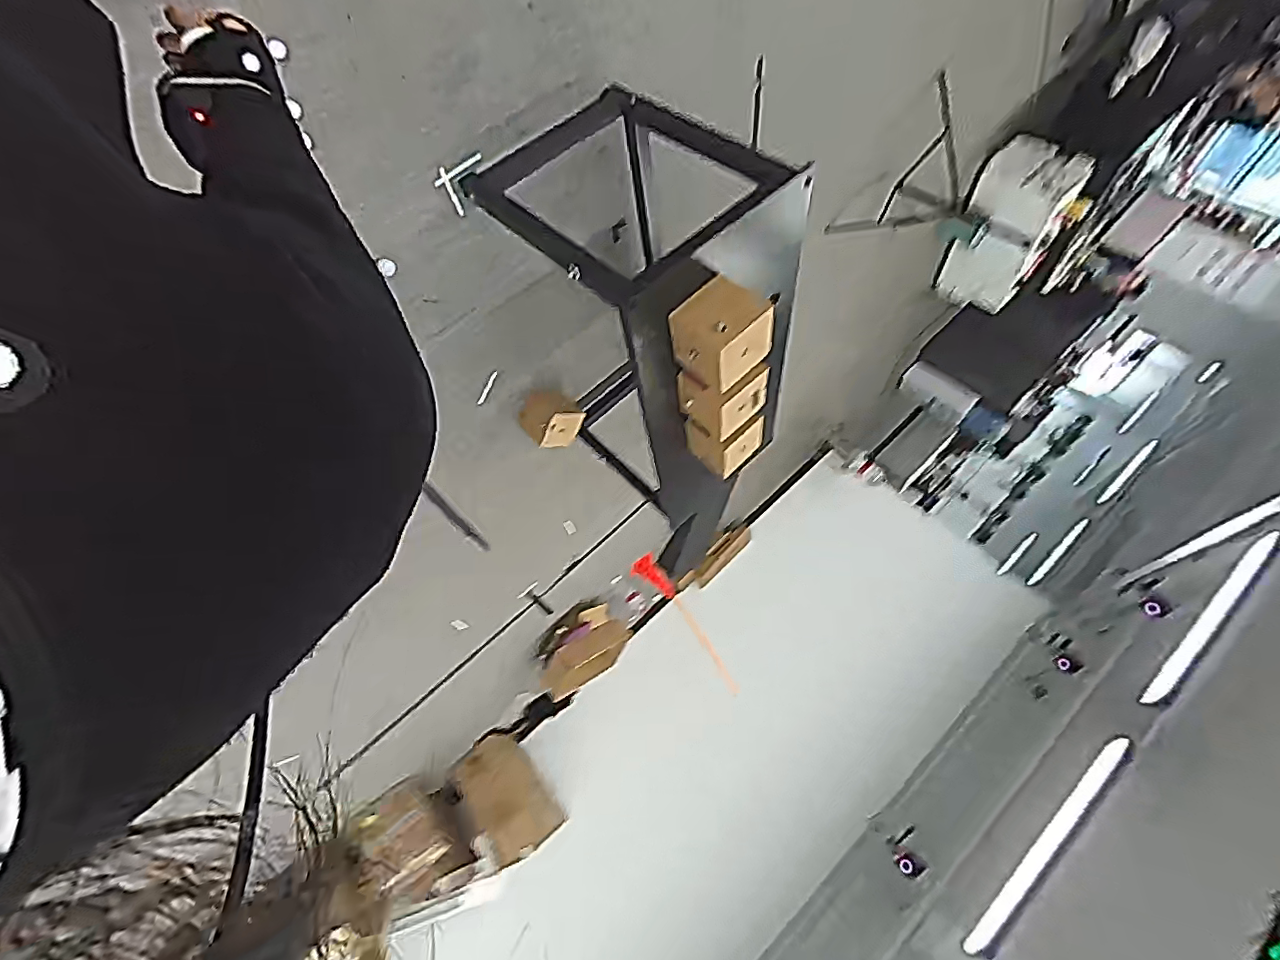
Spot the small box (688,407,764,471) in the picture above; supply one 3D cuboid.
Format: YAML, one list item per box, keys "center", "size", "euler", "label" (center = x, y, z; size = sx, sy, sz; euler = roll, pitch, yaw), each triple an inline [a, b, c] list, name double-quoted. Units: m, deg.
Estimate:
- center: [0.268, -0.166, 1.705]
  size: [0.168, 0.176, 0.179]
  euler: [-43, 153, -12]
  label: "small box"

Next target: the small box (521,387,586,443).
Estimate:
- center: [-0.362, -0.276, 2.255]
  size: [0.179, 0.176, 0.168]
  euler: [-12, 137, -50]
  label: "small box"

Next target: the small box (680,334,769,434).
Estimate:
- center: [0.233, -0.270, 1.501]
  size: [0.179, 0.176, 0.168]
  euler: [-41, 153, -13]
  label: "small box"
